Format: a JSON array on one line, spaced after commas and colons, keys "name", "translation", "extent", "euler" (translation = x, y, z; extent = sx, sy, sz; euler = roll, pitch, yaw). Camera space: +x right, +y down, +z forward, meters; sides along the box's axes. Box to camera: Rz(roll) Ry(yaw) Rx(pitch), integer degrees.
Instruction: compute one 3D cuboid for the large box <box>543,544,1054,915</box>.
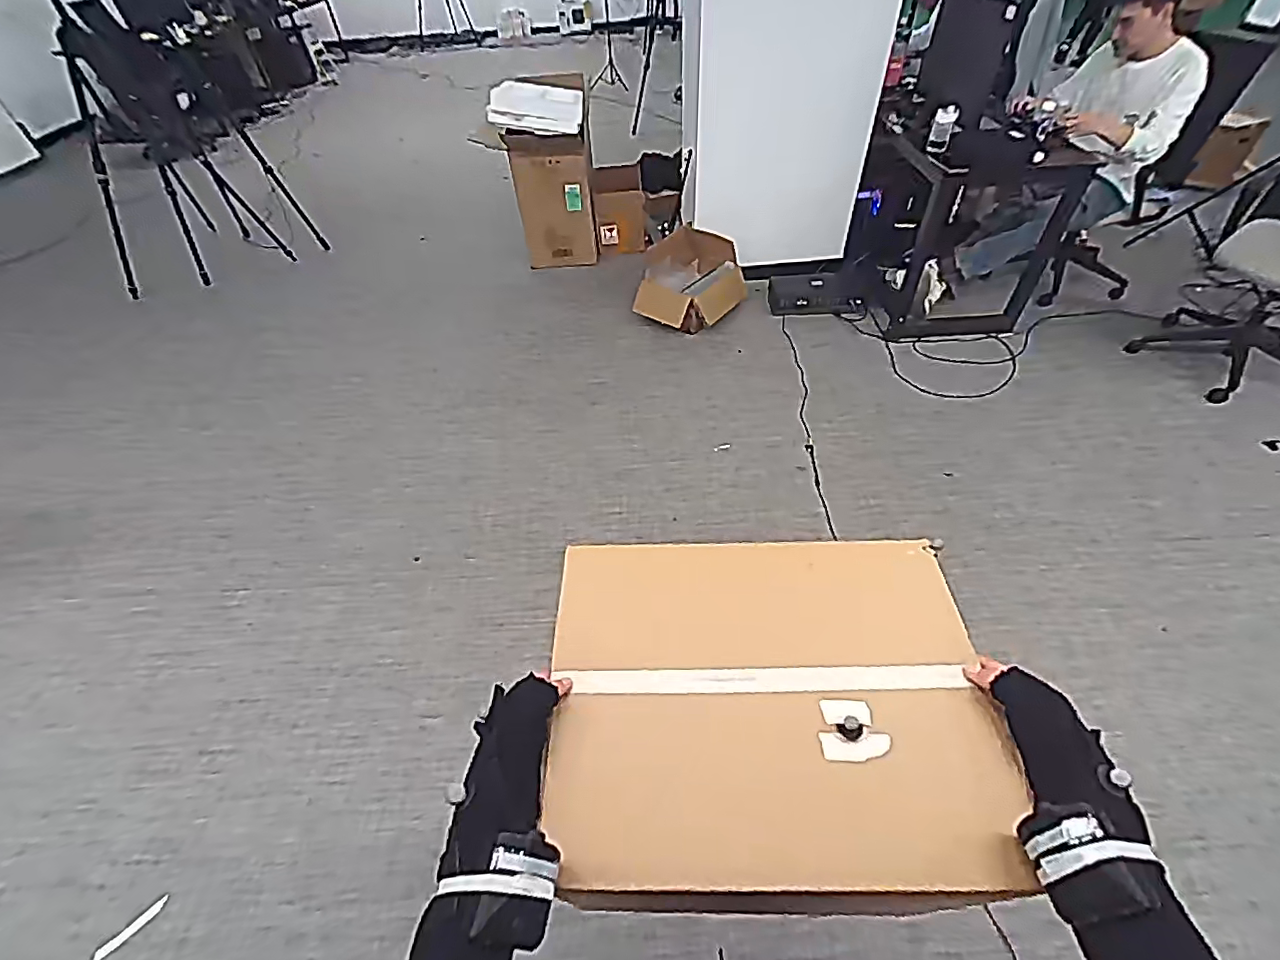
[{"name": "large box", "translation": [0.123, 0.291, 0.623], "extent": [0.408, 0.320, 0.320], "euler": [-1, 49, 2]}]
